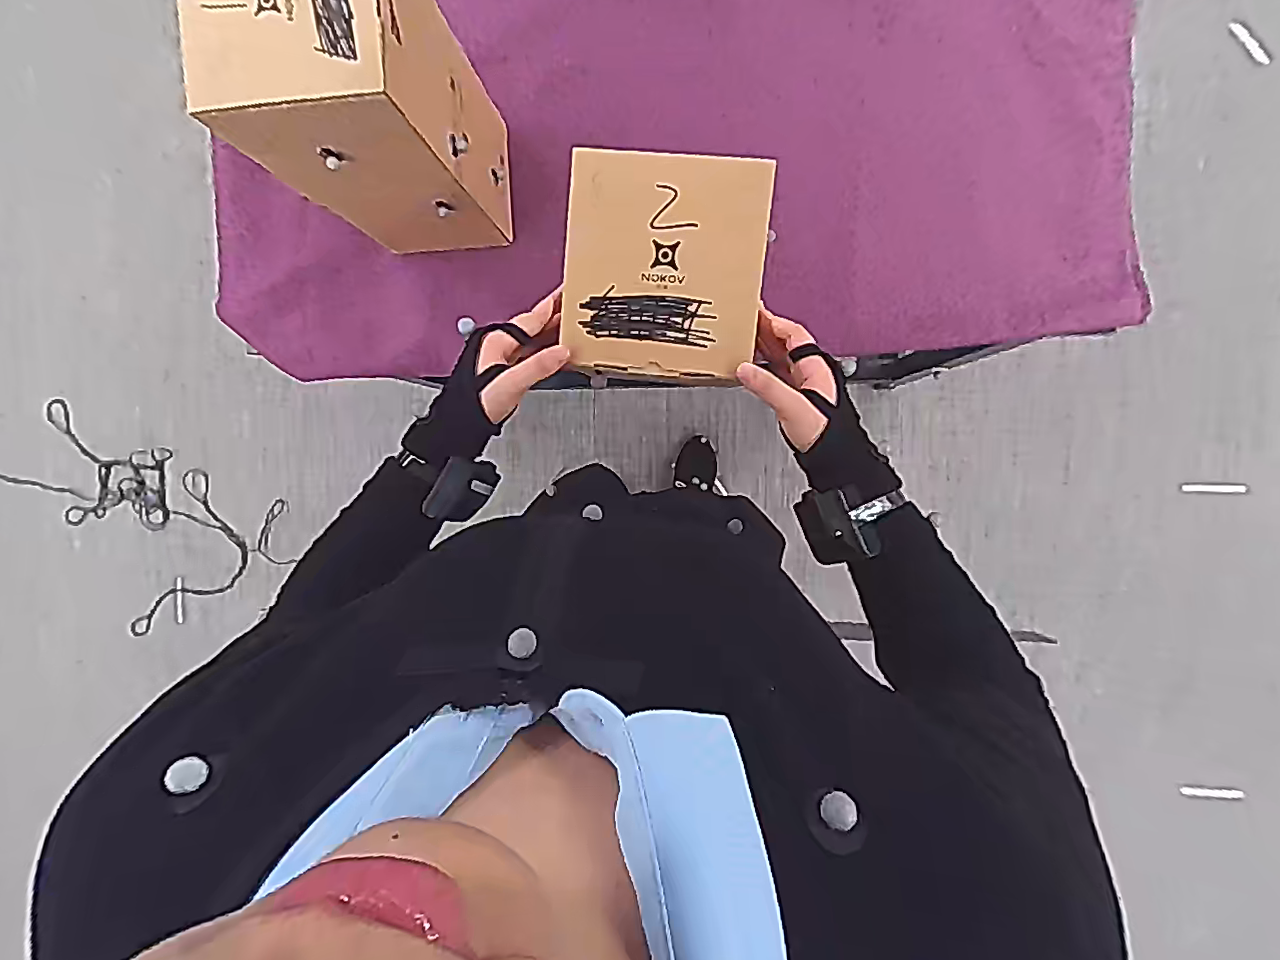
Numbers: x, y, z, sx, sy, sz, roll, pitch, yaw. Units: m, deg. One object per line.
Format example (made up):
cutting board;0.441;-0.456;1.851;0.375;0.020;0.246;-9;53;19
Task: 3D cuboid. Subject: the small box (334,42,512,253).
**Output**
small box;-0.275;-0.403;0.687;0.179;0.176;0.168;-3;92;4

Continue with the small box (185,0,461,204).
small box;-0.285;-0.391;0.523;0.179;0.176;0.168;-3;92;4
